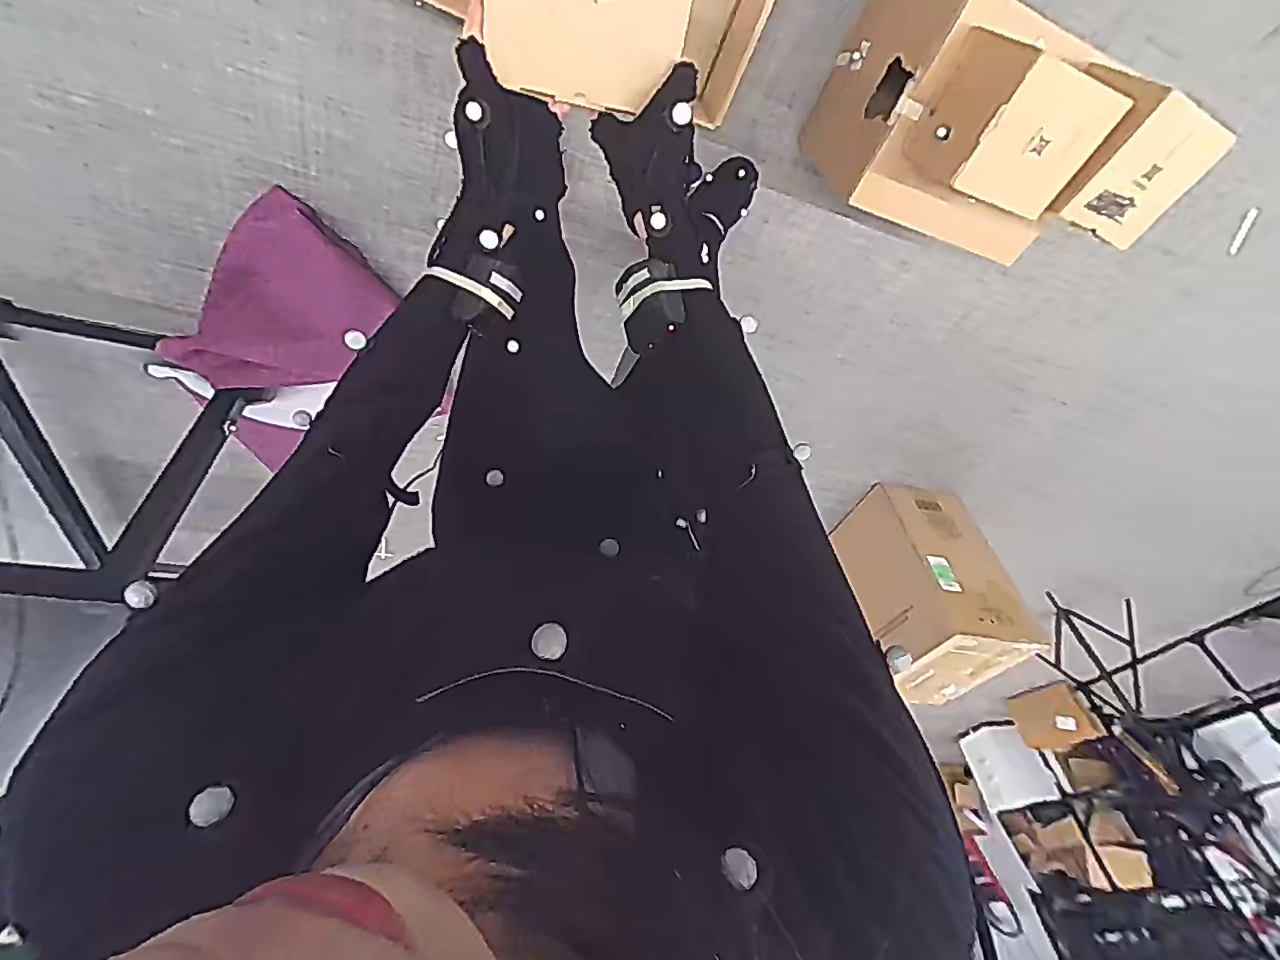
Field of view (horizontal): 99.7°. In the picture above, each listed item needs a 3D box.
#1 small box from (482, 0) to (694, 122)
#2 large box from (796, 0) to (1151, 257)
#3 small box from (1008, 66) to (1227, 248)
[{"bbox_3d":[-0.050,-0.447,0.475,0.168,0.176,0.179,1,131,-18],"label":"small box"},{"bbox_3d":[0.576,-0.679,1.014,0.408,0.320,0.320,8,136,-19],"label":"large box"},{"bbox_3d":[0.731,-0.511,0.858,0.168,0.176,0.179,13,133,-21],"label":"small box"}]
